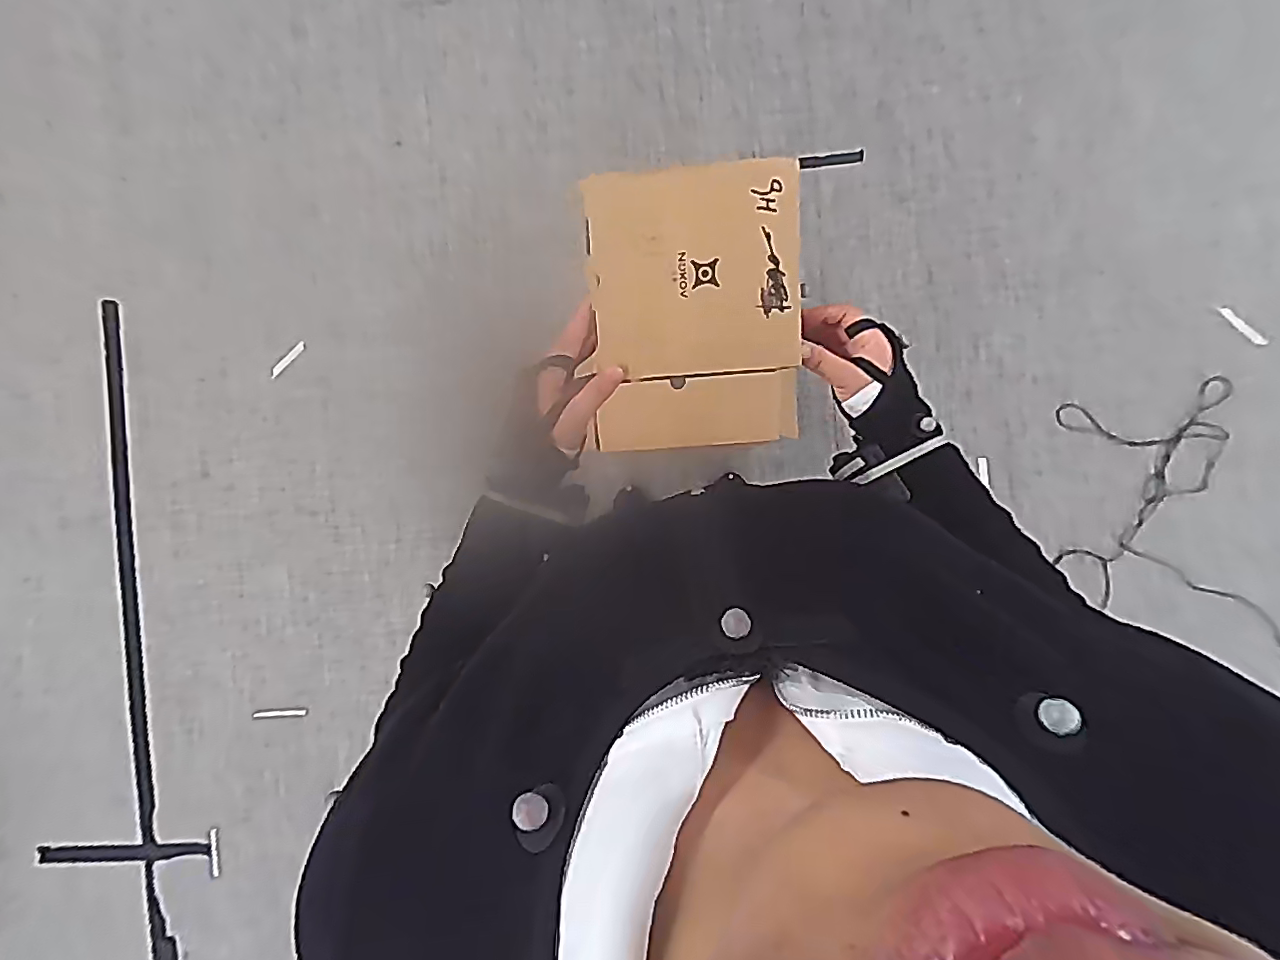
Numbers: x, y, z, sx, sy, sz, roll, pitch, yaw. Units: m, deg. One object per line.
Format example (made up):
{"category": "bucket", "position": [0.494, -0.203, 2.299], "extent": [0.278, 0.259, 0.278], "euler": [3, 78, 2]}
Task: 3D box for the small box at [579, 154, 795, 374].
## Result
{"category": "small box", "position": [0.044, -0.191, 0.527], "extent": [0.179, 0.176, 0.168], "euler": [-4, 101, 2]}
